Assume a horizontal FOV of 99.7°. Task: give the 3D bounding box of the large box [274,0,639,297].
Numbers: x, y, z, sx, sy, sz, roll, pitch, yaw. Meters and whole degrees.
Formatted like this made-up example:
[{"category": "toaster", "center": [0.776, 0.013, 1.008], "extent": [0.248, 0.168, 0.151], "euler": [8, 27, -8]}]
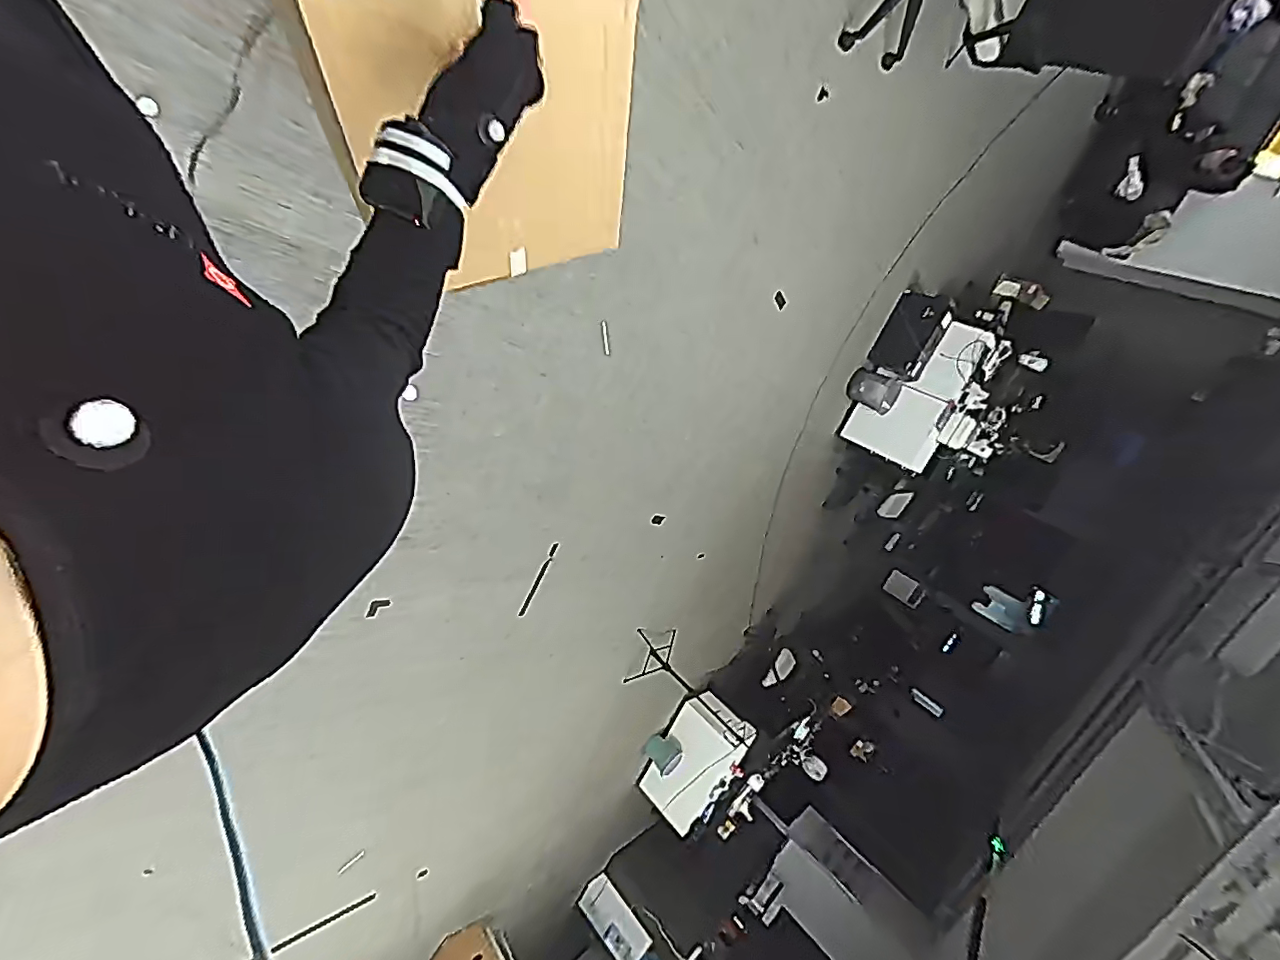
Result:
[{"category": "large box", "center": [-0.248, -0.512, 0.689], "extent": [0.320, 0.408, 0.320], "euler": [-22, 156, -19]}]
